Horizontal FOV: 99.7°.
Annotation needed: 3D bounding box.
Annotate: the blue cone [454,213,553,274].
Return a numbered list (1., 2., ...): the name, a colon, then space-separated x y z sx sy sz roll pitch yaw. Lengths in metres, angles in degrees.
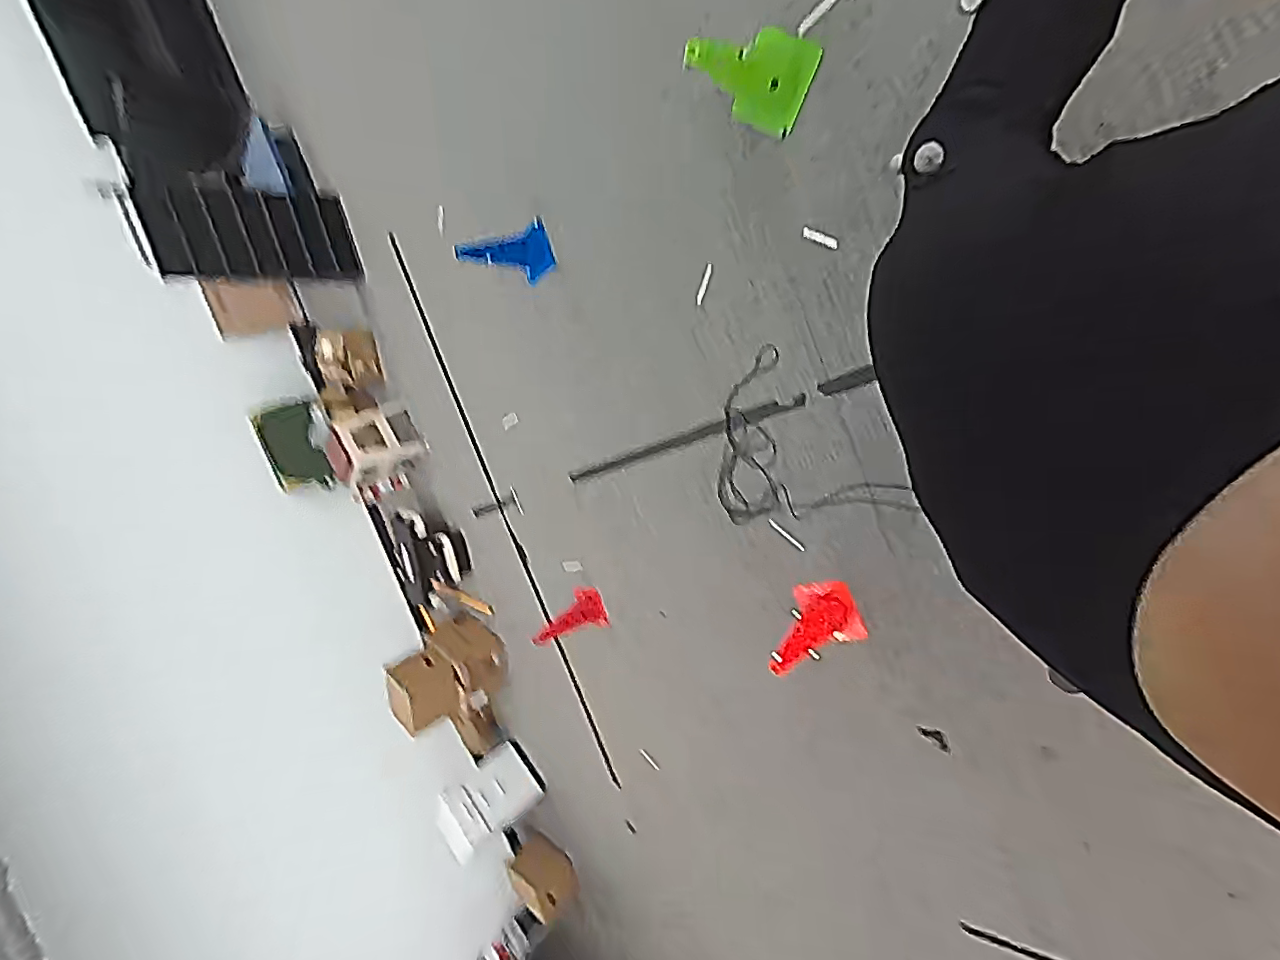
1. blue cone: -0.540 -0.910 2.094 0.193 0.380 0.192 -13 97 47

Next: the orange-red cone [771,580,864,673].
1. orange-red cone: 0.503 0.475 1.651 0.199 0.360 0.198 -21 93 46

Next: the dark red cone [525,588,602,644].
1. dark red cone: -0.380 0.679 2.584 0.202 0.394 0.201 -9 100 46

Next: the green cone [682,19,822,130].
1. green cone: 0.230 -0.988 1.267 0.202 0.368 0.200 43 132 25
